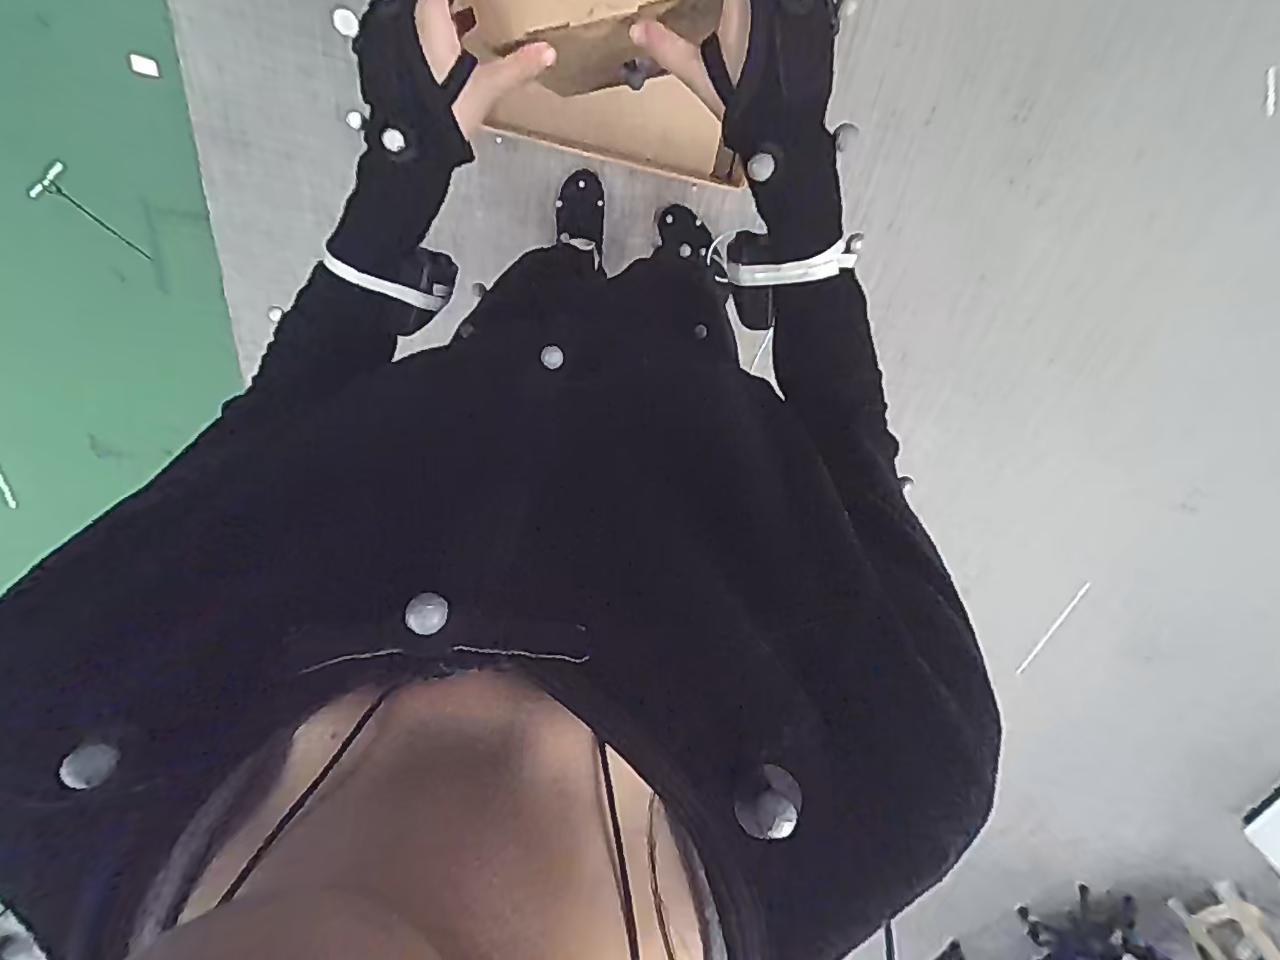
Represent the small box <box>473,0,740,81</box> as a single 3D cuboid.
[{"bbox_3d":[-0.020,-0.407,0.366,0.168,0.176,0.179,-2,115,14],"label":"small box"}]
